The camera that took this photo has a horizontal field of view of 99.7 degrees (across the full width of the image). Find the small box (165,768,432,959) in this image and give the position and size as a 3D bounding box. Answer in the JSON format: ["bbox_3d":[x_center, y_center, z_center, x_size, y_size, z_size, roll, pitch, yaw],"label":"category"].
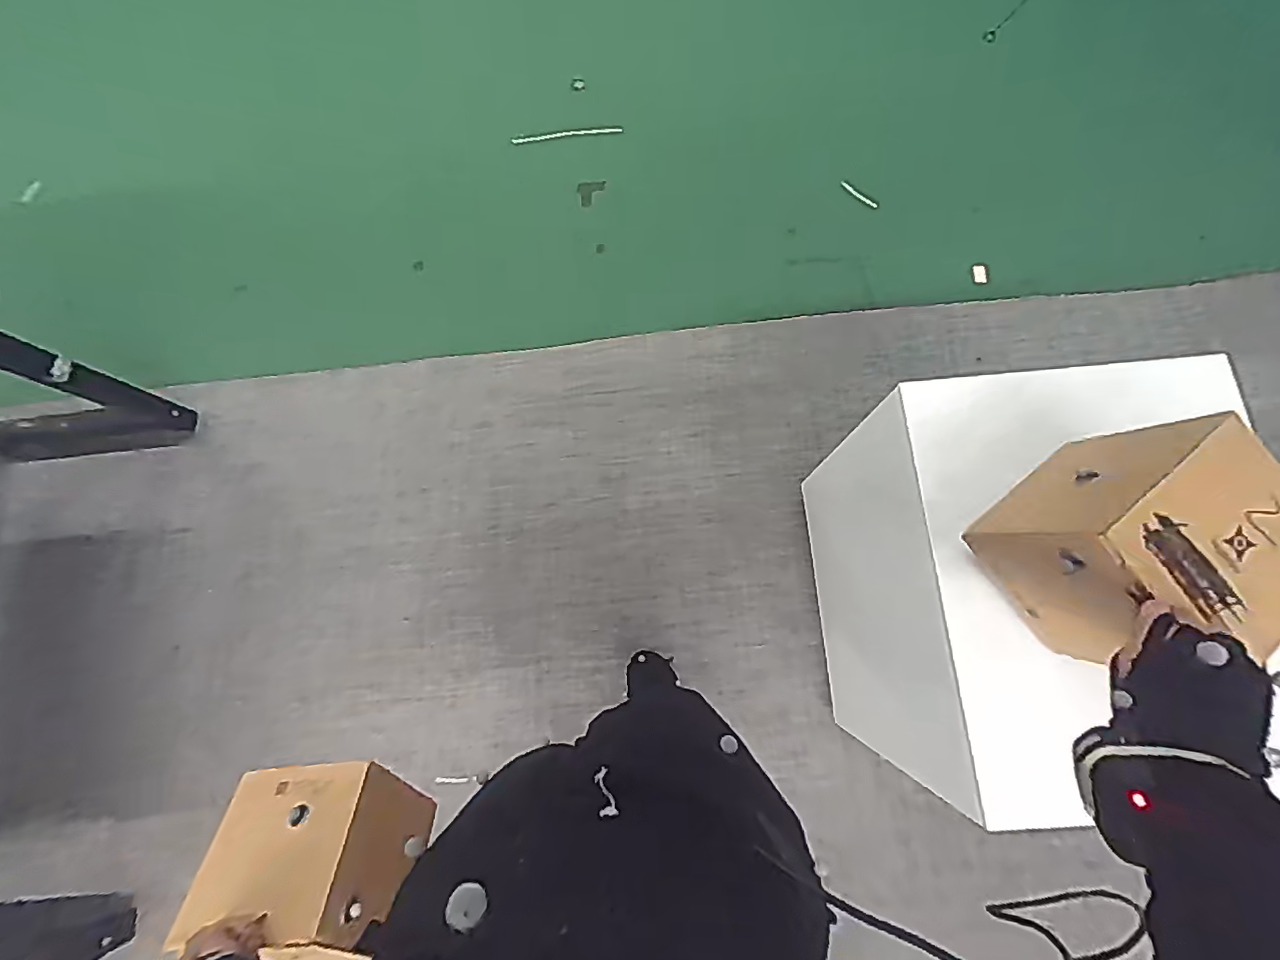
[{"bbox_3d":[-0.371,0.455,0.633,0.168,0.179,0.176,-10,44,7],"label":"small box"}]
